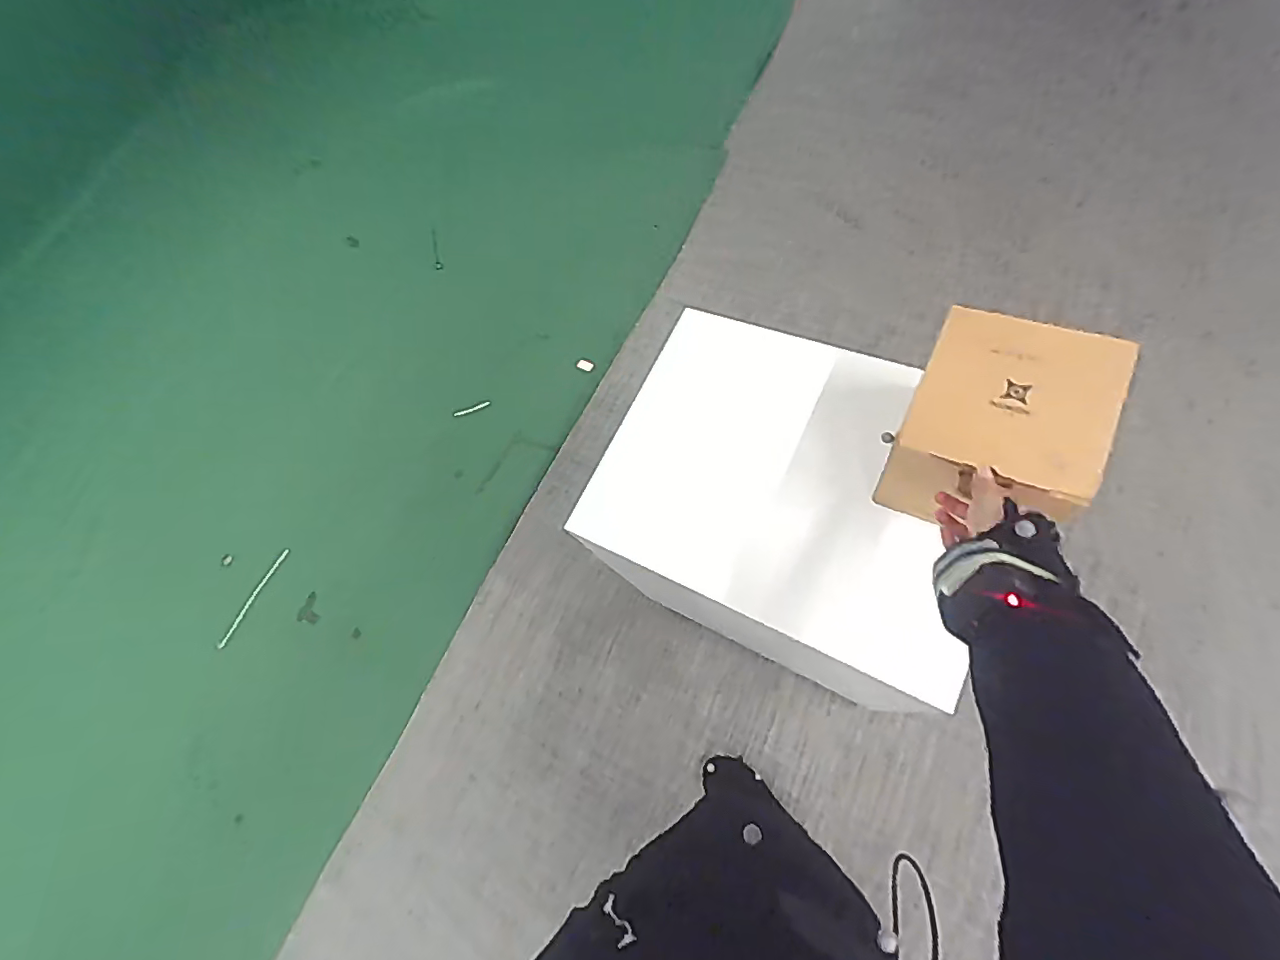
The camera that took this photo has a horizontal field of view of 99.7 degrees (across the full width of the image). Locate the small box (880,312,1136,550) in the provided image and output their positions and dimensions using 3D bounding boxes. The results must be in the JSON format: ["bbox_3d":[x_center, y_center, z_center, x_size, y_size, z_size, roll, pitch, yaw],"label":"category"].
[{"bbox_3d":[0.376,-0.045,0.587,0.168,0.176,0.179,22,74,21],"label":"small box"}]
